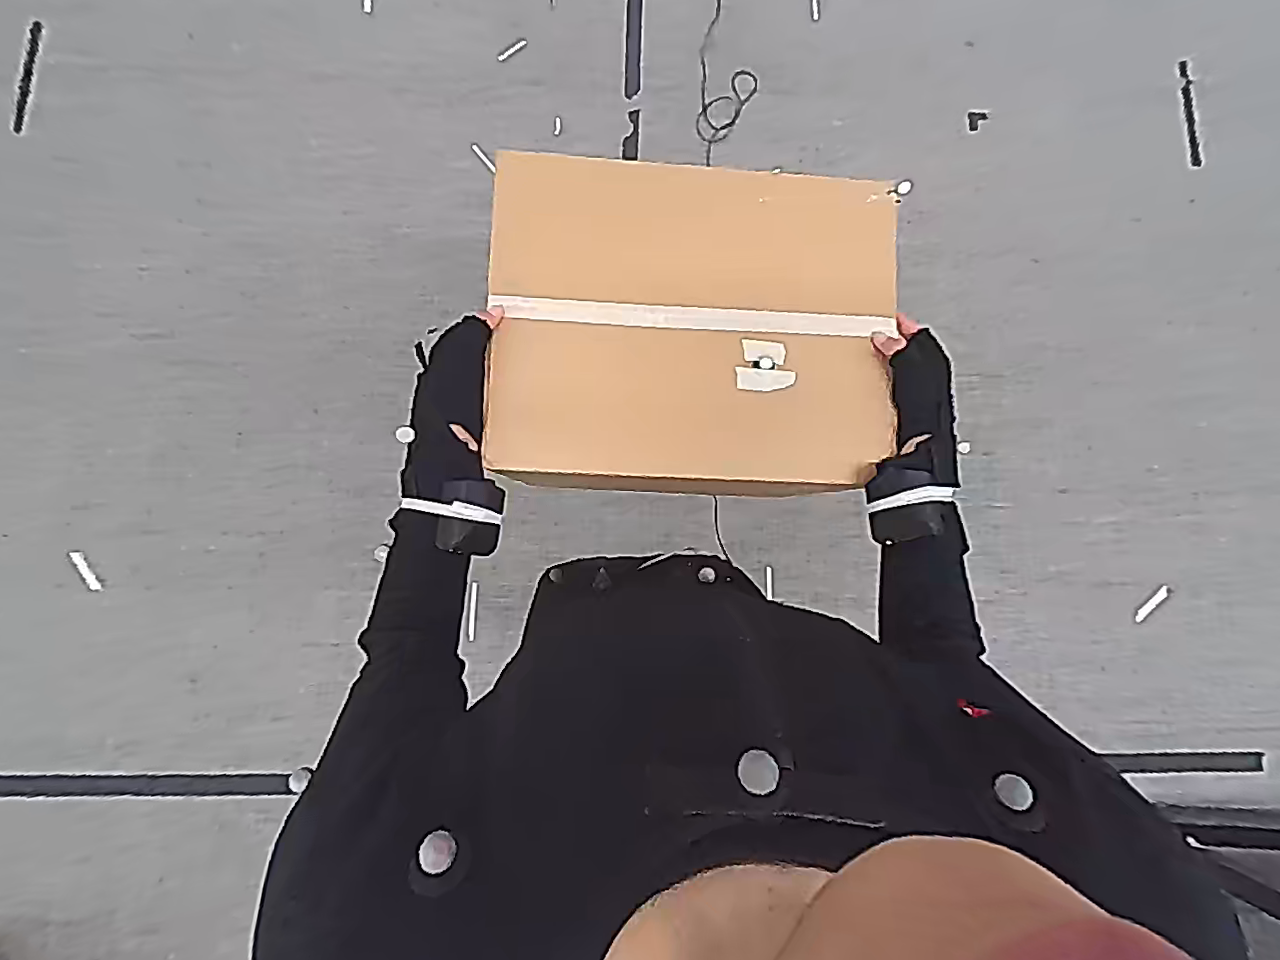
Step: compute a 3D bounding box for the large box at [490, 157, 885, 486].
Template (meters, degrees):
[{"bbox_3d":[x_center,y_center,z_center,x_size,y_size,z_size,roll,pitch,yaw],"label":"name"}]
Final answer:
[{"bbox_3d":[0.041,-0.156,0.694,0.408,0.320,0.320,3,88,-5],"label":"large box"}]
